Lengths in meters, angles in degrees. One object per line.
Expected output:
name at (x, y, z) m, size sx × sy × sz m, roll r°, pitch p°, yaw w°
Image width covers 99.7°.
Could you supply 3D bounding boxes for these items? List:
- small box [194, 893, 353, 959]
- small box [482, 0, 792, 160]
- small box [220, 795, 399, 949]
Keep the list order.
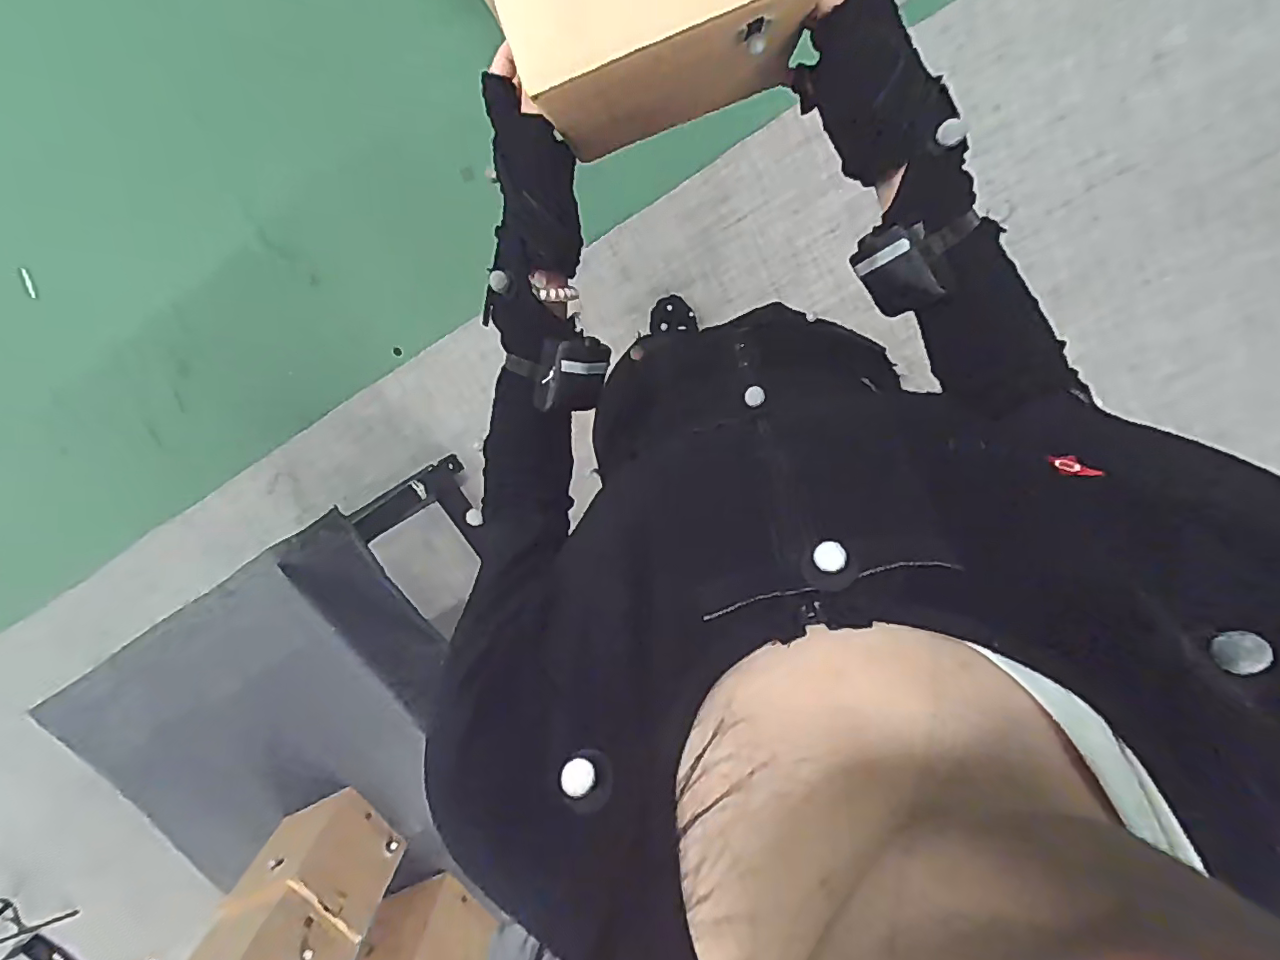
small box at (-0.568, 0.758, 0.788) m, size 0.179 × 0.176 × 0.168 m, roll -31°, pitch 104°, yaw 12°
small box at (-0.006, -0.334, 0.344) m, size 0.179 × 0.176 × 0.168 m, roll -17°, pitch 107°, yaw 9°
small box at (-0.551, 0.690, 0.937) m, size 0.179 × 0.176 × 0.168 m, roll -30°, pitch 103°, yaw 13°
